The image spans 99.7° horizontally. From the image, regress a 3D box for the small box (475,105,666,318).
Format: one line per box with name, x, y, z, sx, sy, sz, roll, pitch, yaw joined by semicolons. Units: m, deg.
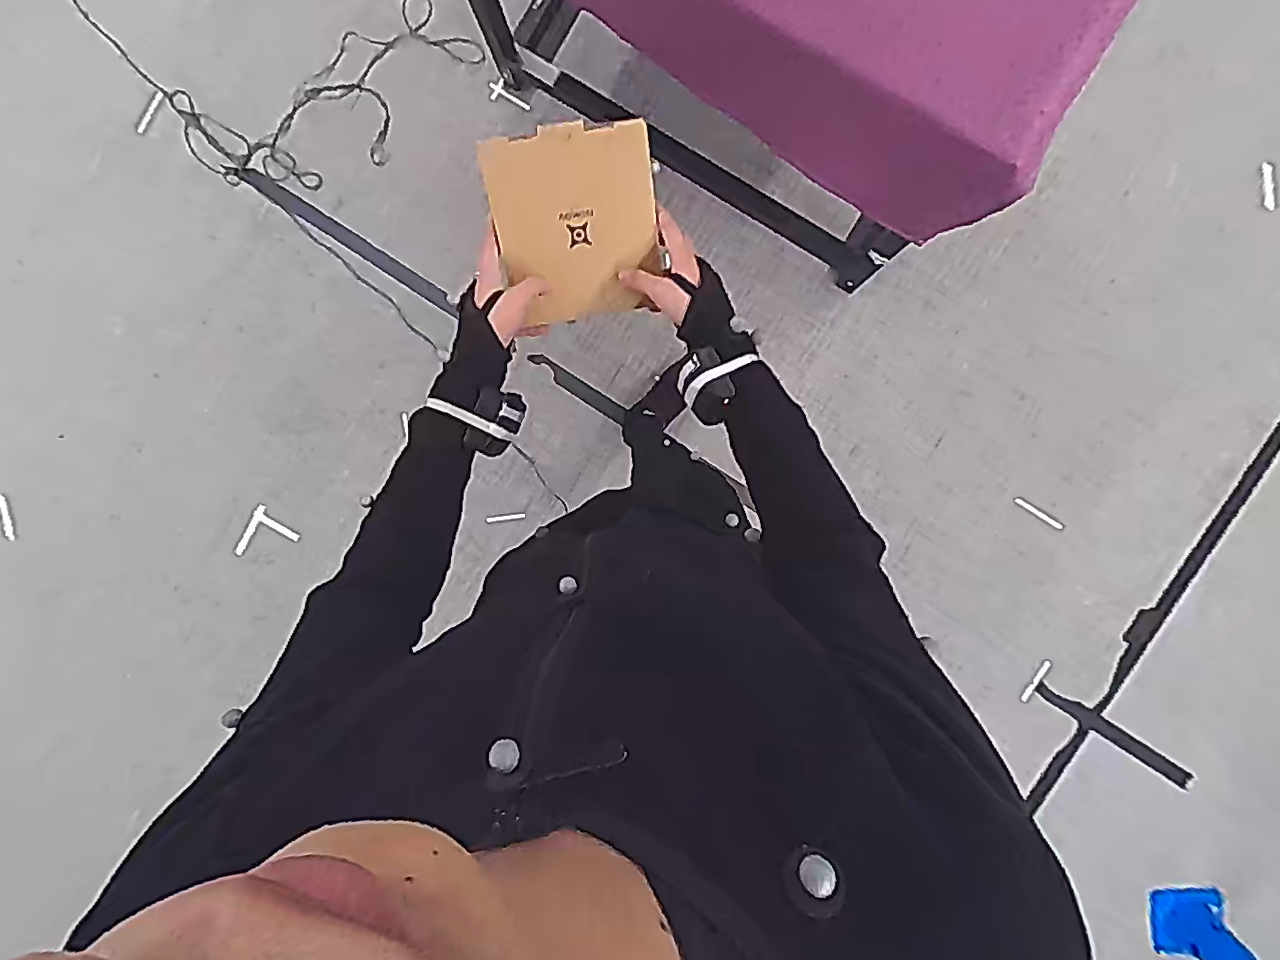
small box;-0.072;-0.296;0.612;0.168;0.176;0.179;-11;115;-4
